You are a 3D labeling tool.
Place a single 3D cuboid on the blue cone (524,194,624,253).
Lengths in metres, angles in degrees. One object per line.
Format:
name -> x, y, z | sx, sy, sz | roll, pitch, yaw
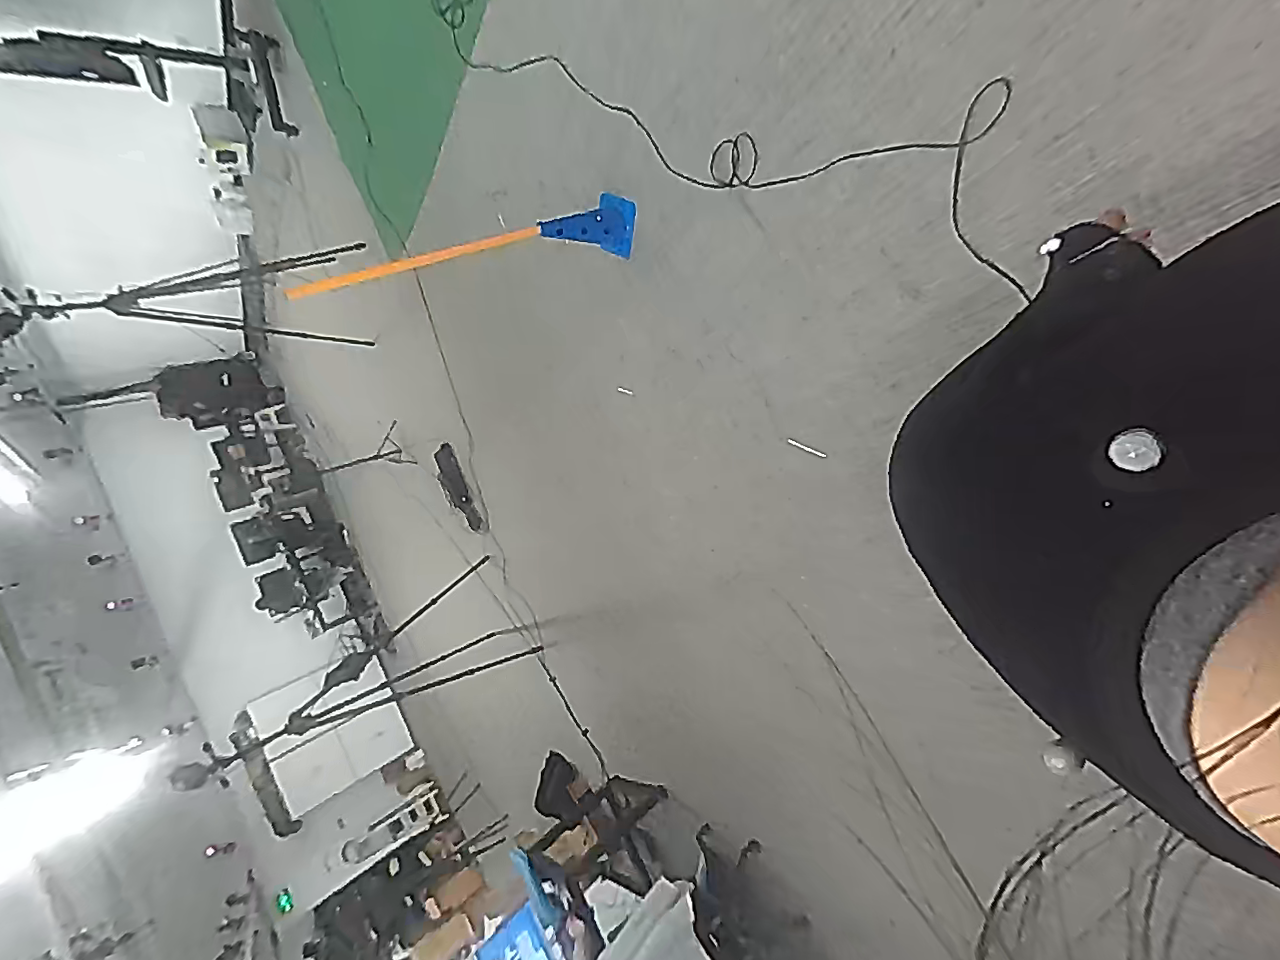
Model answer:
blue cone -> -0.247, -0.919, 1.956 | 0.192, 0.380, 0.193 | 35, 133, 32
